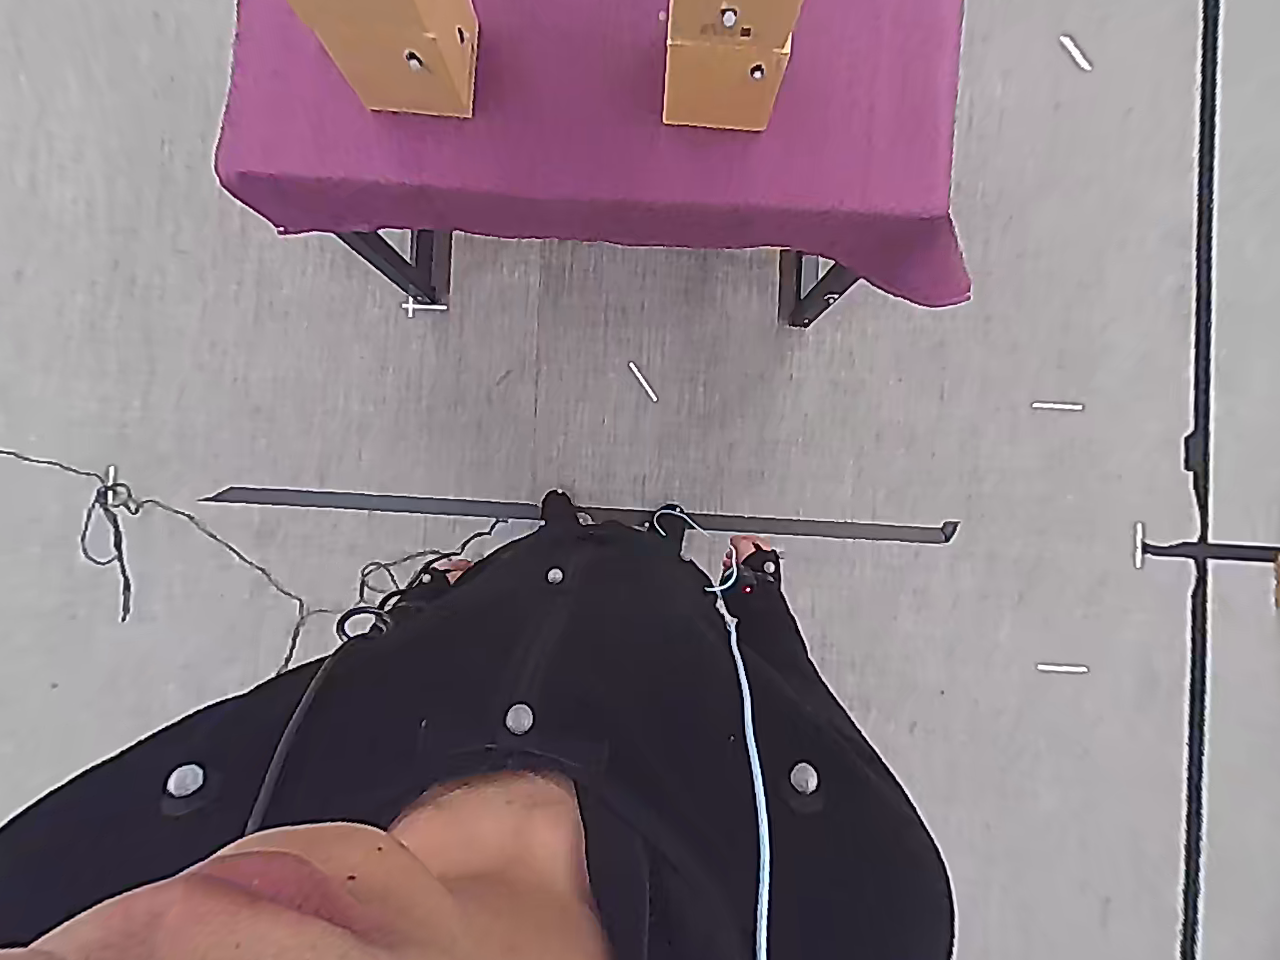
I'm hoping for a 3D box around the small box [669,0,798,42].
[{"bbox_3d":[0.127,-0.694,0.663,0.168,0.176,0.179,4,90,-1],"label":"small box"}]

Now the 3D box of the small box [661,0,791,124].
[{"bbox_3d":[0.125,-0.681,0.827,0.179,0.176,0.168,4,90,-1],"label":"small box"}]

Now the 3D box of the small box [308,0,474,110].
[{"bbox_3d":[-0.363,-0.699,0.819,0.179,0.176,0.168,5,90,-1],"label":"small box"}]
